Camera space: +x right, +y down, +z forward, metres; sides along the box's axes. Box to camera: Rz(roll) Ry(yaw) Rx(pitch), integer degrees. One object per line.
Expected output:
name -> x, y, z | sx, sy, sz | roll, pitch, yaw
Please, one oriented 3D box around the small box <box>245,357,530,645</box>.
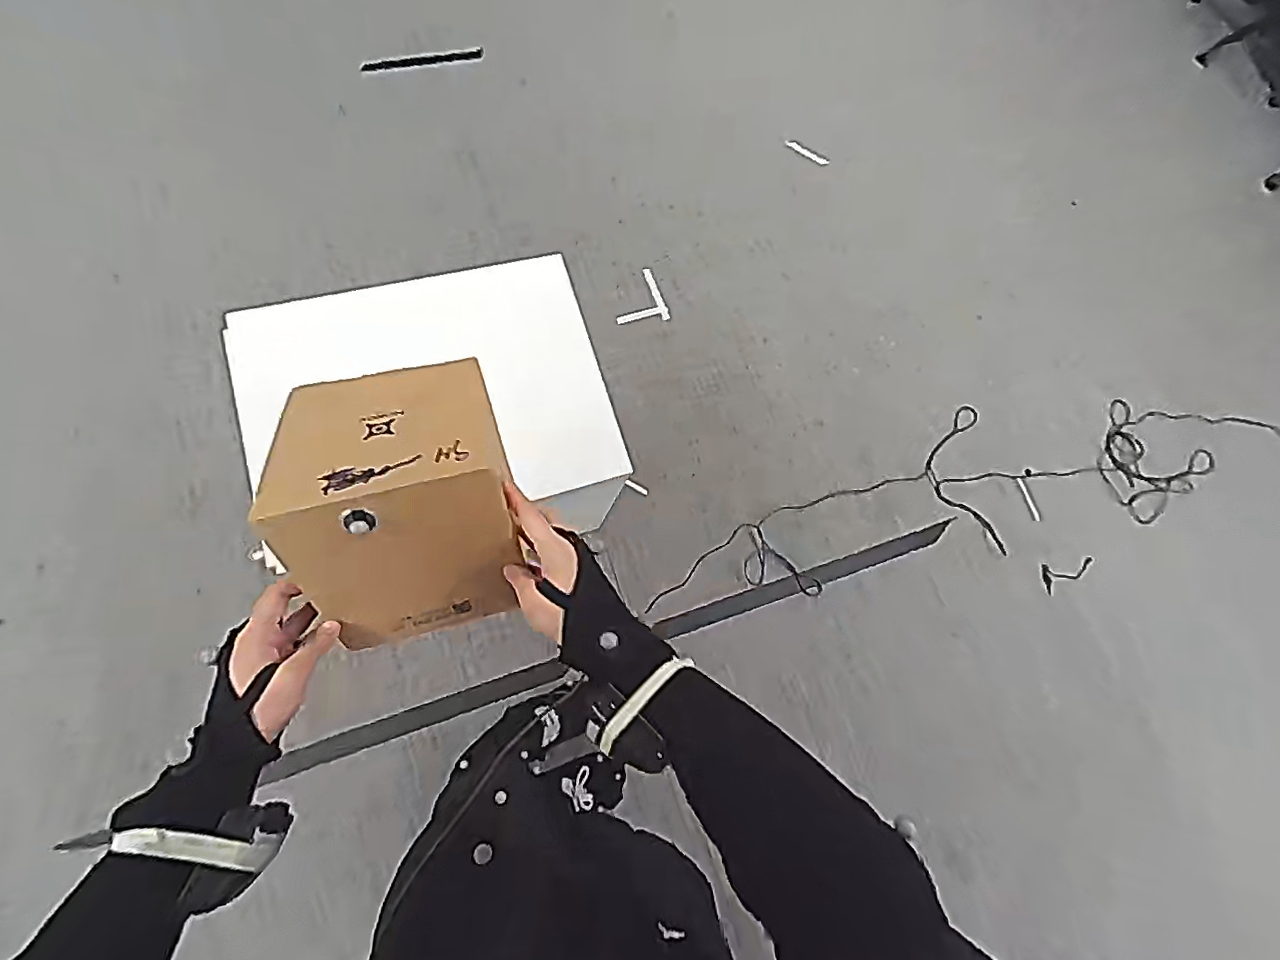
small box -> -0.205, 0.015, 0.489 | 0.168, 0.176, 0.179 | -14, 42, -10
